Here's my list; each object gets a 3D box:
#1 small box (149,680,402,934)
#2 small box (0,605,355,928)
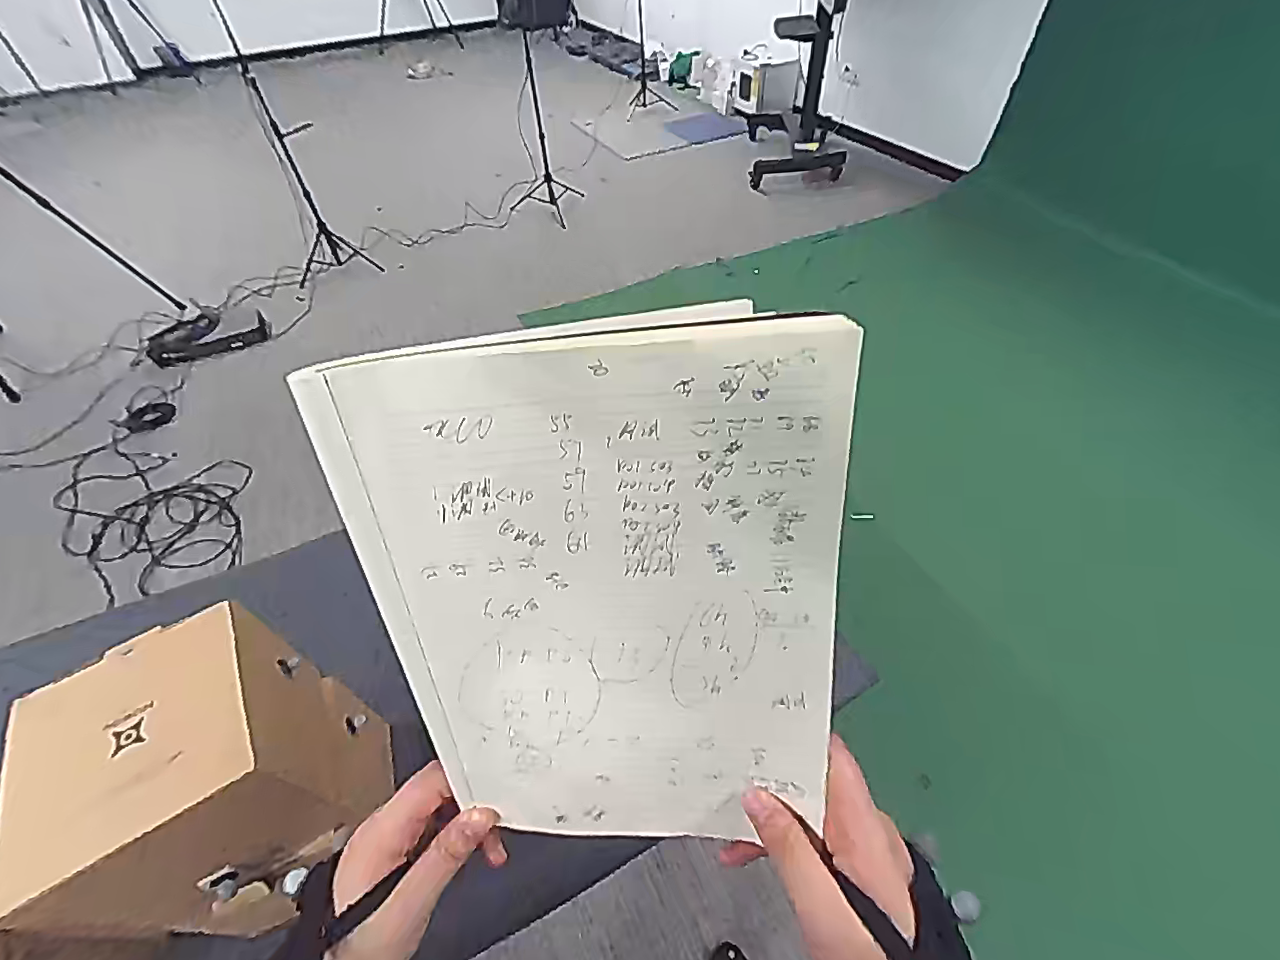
[{"bbox_3d":[-0.383,0.362,0.601,0.168,0.176,0.179,-20,50,-12],"label":"small box"},{"bbox_3d":[-0.388,0.253,0.480,0.168,0.176,0.179,-29,53,-19],"label":"small box"}]
